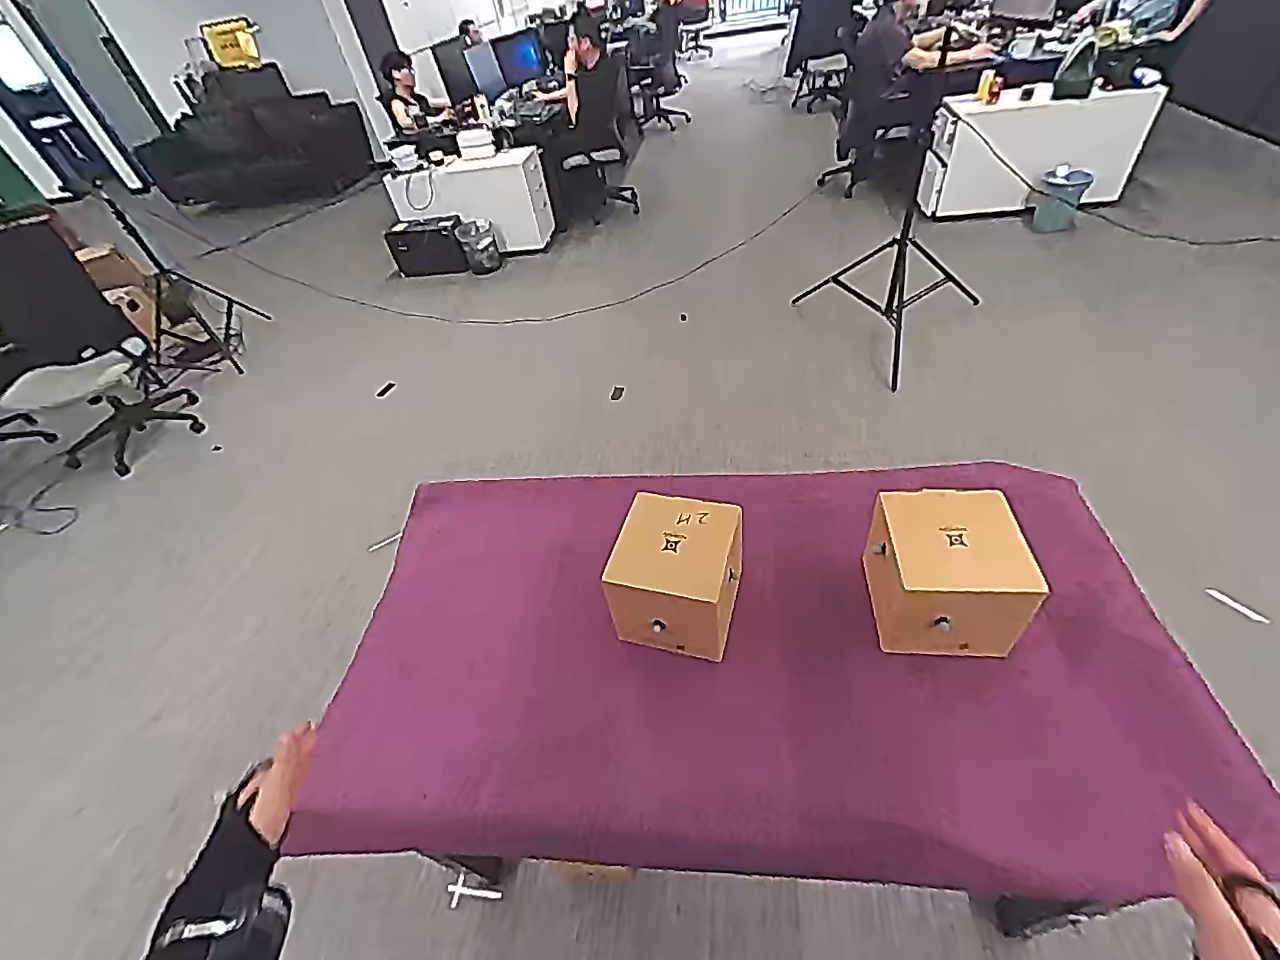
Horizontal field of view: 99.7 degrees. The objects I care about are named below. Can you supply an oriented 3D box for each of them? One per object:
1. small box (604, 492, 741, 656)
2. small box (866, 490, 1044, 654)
[{"bbox_3d":[0.062,0.147,0.839,0.168,0.176,0.179,8,47,17],"label":"small box"},{"bbox_3d":[0.435,0.134,0.782,0.168,0.176,0.179,-1,44,11],"label":"small box"}]
